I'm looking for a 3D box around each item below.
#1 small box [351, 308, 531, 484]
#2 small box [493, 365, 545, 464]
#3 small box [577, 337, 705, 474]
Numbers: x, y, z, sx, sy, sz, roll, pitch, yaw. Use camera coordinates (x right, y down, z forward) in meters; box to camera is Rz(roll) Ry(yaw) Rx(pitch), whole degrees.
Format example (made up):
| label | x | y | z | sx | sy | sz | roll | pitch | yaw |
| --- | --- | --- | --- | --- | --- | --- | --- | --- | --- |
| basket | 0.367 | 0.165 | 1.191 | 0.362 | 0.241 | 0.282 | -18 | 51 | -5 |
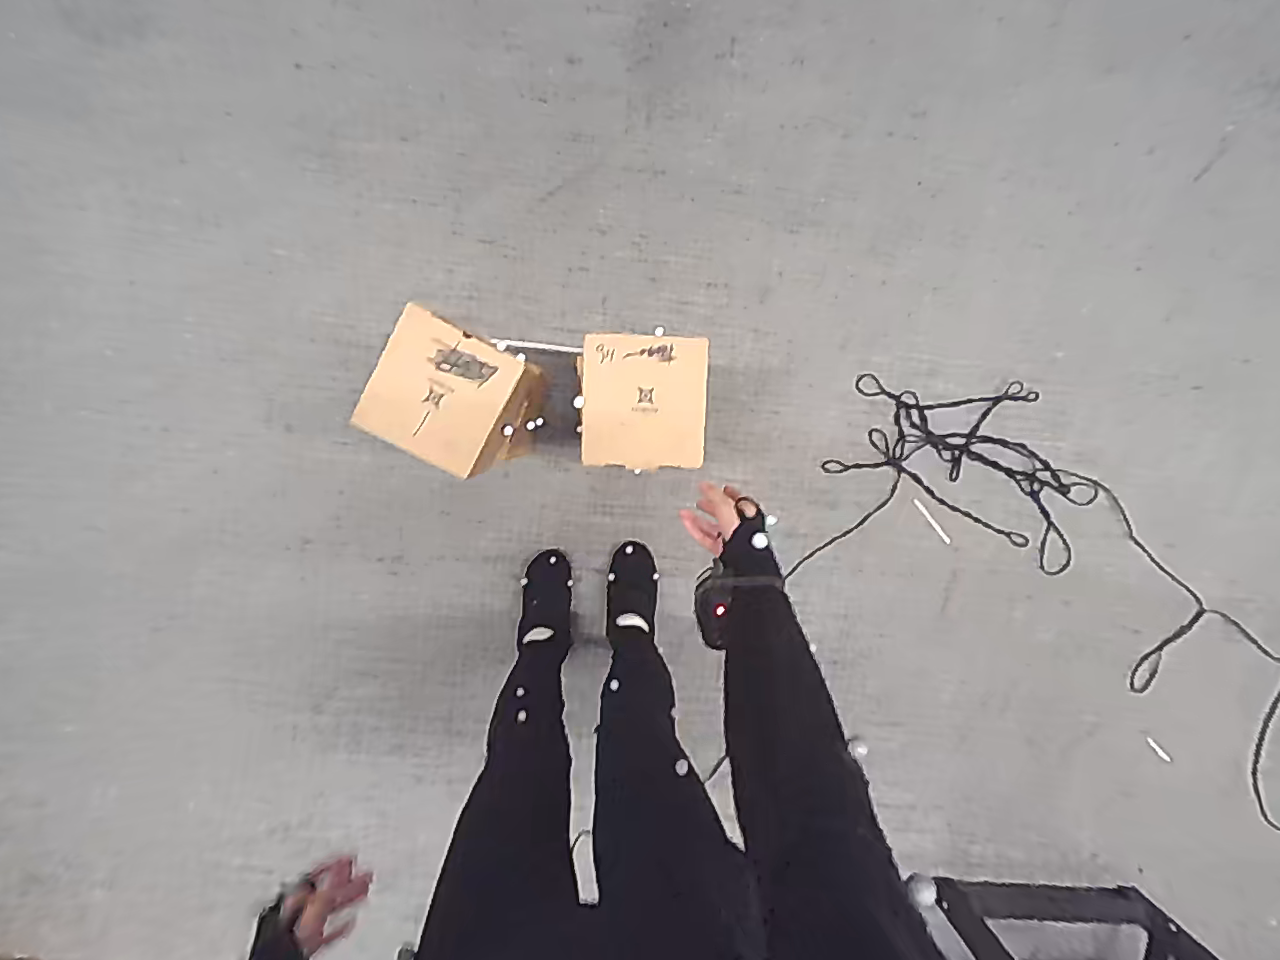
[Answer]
| label | x | y | z | sx | sy | sz | roll | pitch | yaw |
| --- | --- | --- | --- | --- | --- | --- | --- | --- | --- |
| small box | -0.269 | -0.114 | 0.777 | 0.168 | 0.176 | 0.179 | 28 | 92 | -7 |
| small box | -0.279 | -0.135 | 0.940 | 0.179 | 0.176 | 0.168 | 23 | 92 | -7 |
| small box | -0.003 | -0.107 | 0.796 | 0.168 | 0.176 | 0.179 | 2 | 97 | -4 |
